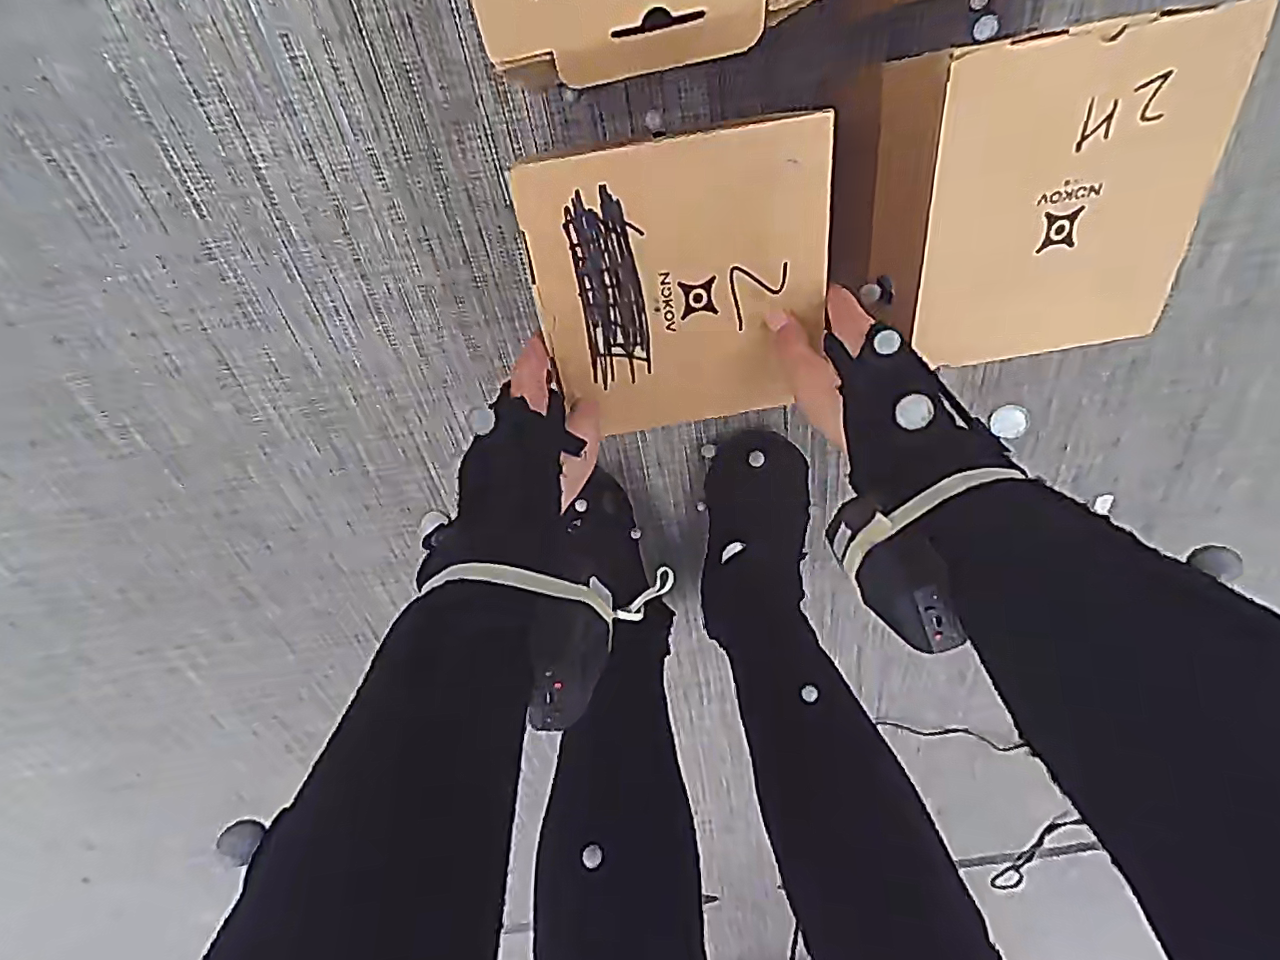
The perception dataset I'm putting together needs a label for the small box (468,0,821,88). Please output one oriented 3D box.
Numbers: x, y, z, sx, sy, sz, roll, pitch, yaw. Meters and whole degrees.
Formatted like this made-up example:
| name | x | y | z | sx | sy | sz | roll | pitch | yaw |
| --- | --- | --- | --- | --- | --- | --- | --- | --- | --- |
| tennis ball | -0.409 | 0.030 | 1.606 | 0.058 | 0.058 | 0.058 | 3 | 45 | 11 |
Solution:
| name | x | y | z | sx | sy | sz | roll | pitch | yaw |
| --- | --- | --- | --- | --- | --- | --- | --- | --- | --- |
| small box | -0.012 | -0.320 | 0.276 | 0.168 | 0.176 | 0.179 | -11 | 121 | 2 |
